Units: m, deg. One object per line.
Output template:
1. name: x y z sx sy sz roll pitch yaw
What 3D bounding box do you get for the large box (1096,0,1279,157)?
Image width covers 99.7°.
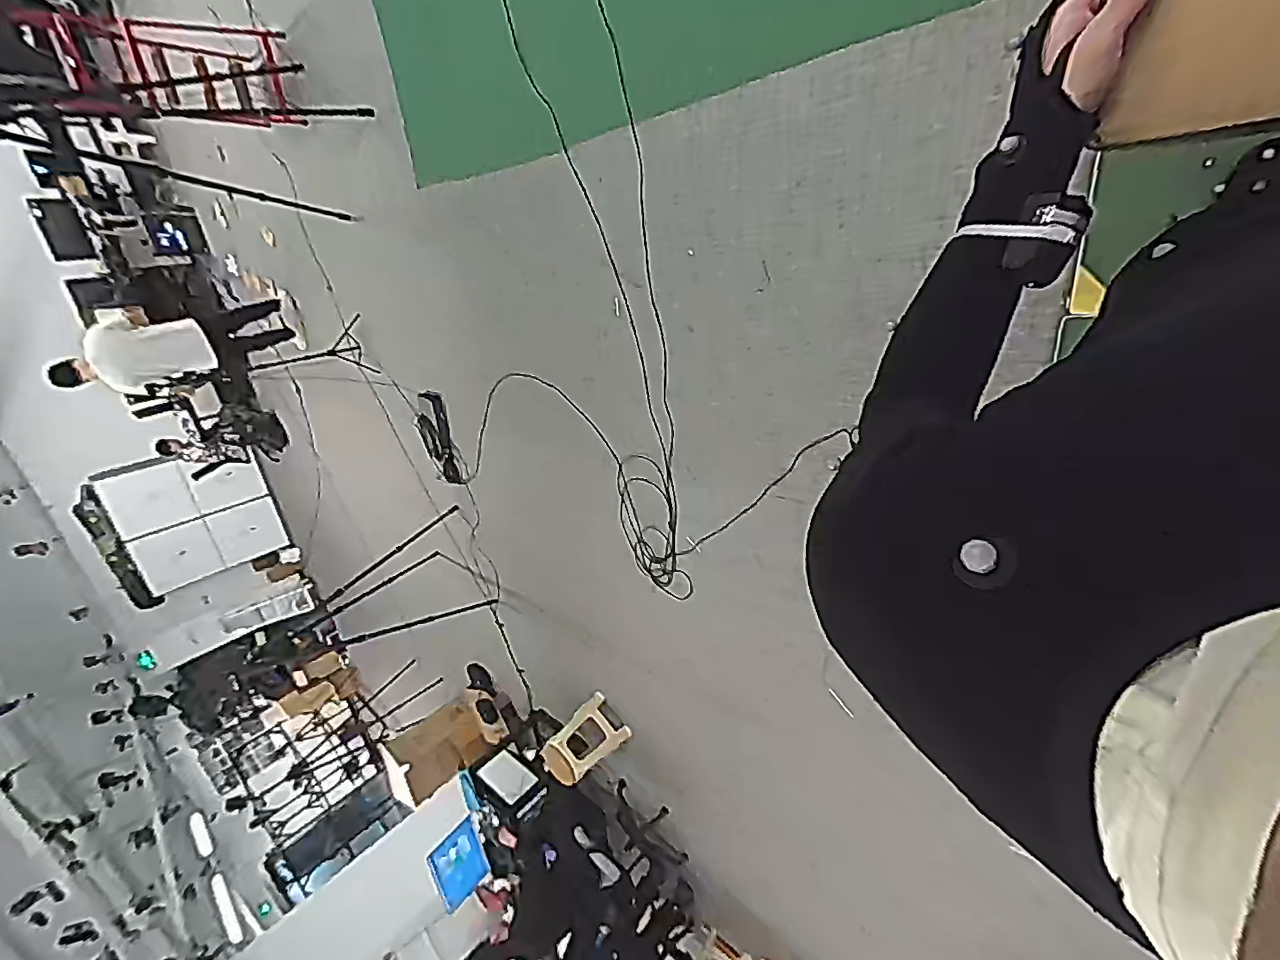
1. large box: 0.590 -0.429 0.345 0.408 0.320 0.320 14 121 42
